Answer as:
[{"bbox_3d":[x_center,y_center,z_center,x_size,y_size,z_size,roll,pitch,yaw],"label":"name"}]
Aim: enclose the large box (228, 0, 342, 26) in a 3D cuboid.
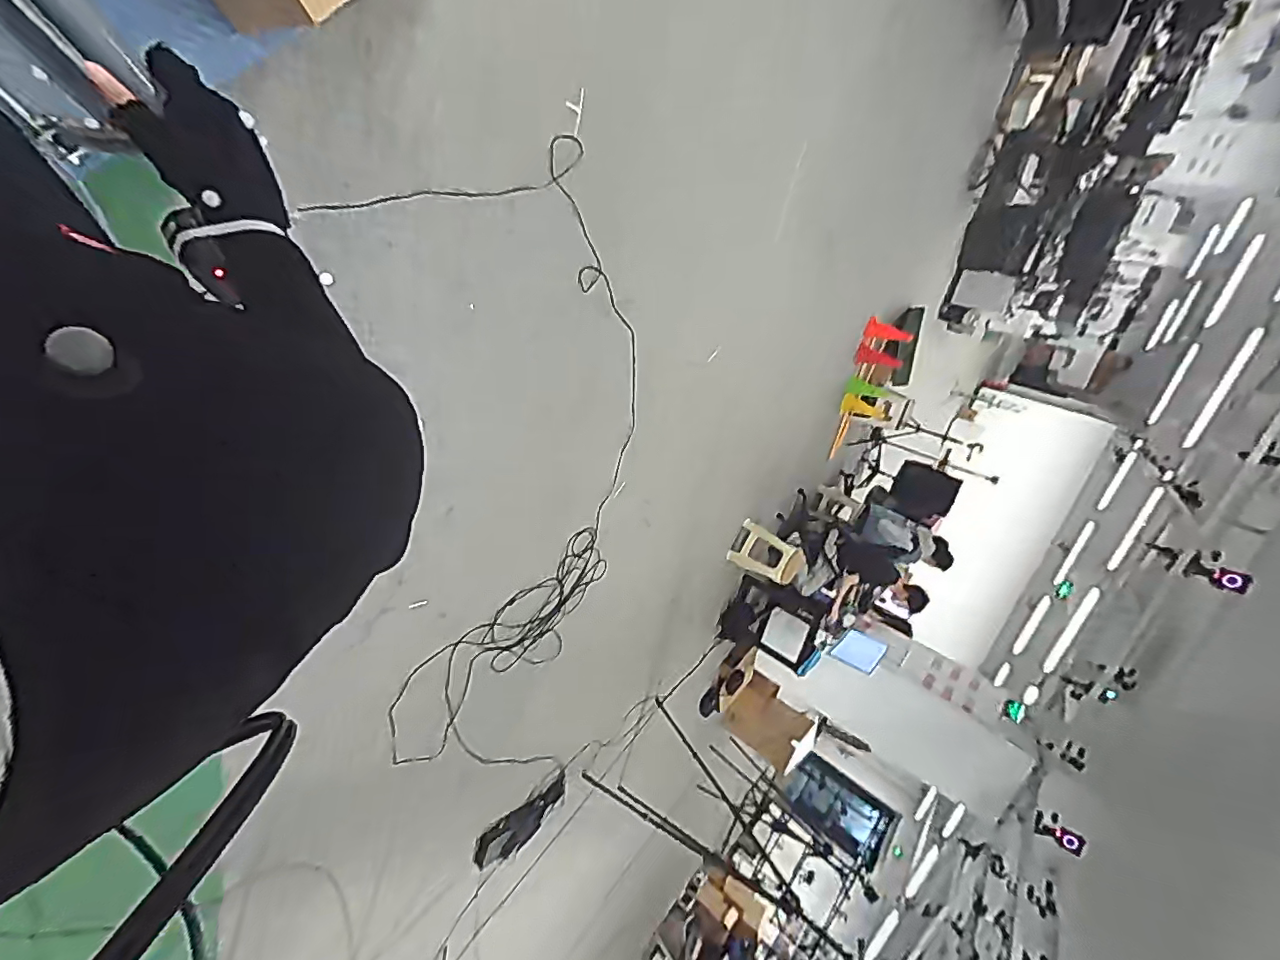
[{"bbox_3d":[-0.539,-0.930,0.725,0.320,0.320,0.408,-53,146,-15],"label":"large box"}]
